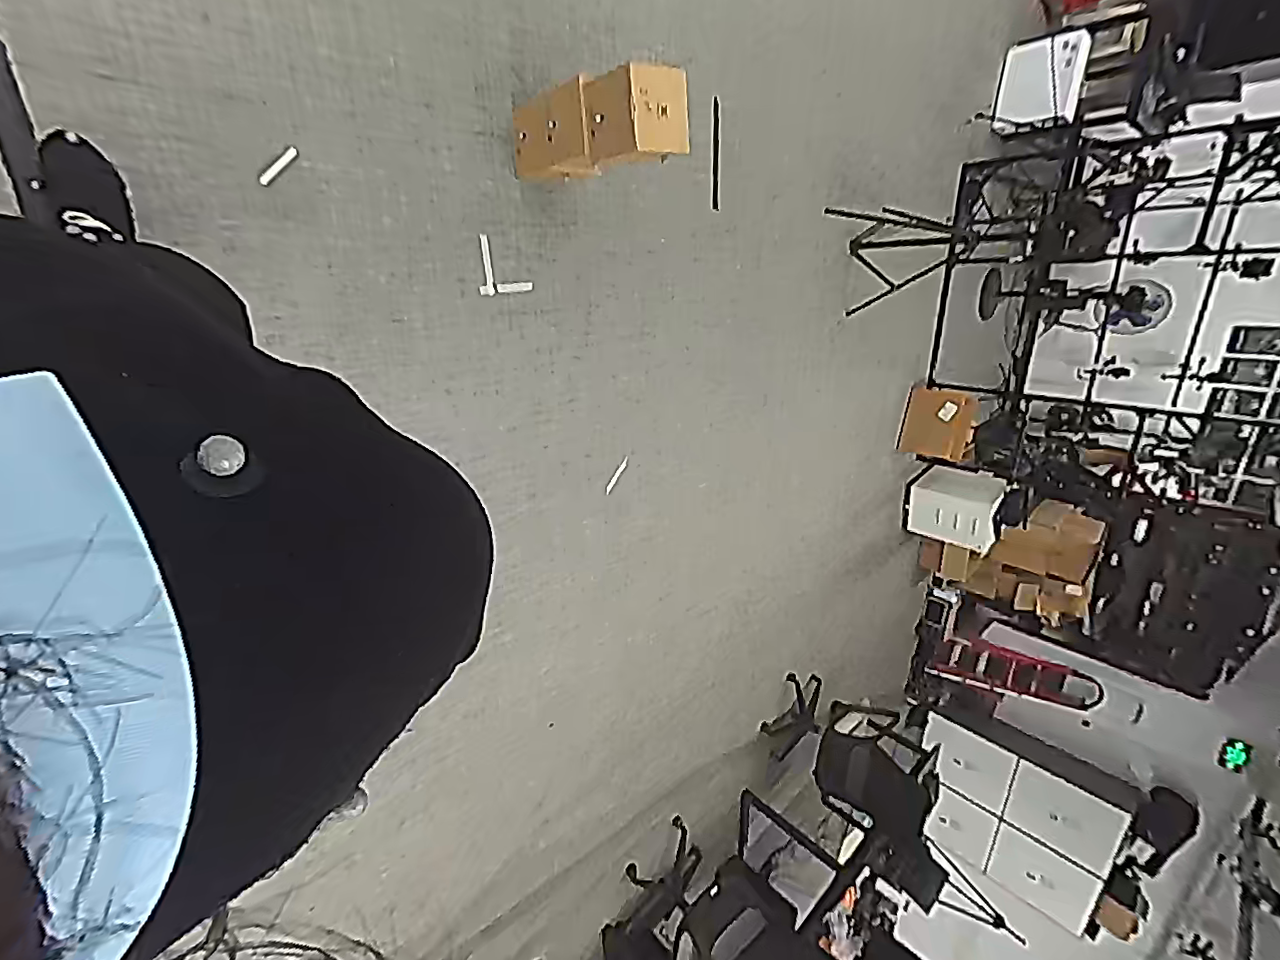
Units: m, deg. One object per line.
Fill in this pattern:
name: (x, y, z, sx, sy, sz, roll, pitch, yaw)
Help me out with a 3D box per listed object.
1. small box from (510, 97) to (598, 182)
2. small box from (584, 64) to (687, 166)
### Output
small box: (-0.238, -0.934, 1.501, 0.179, 0.176, 0.168, -20, 118, -38)
small box: (-0.009, -0.852, 1.279, 0.179, 0.176, 0.168, -24, 119, -36)
